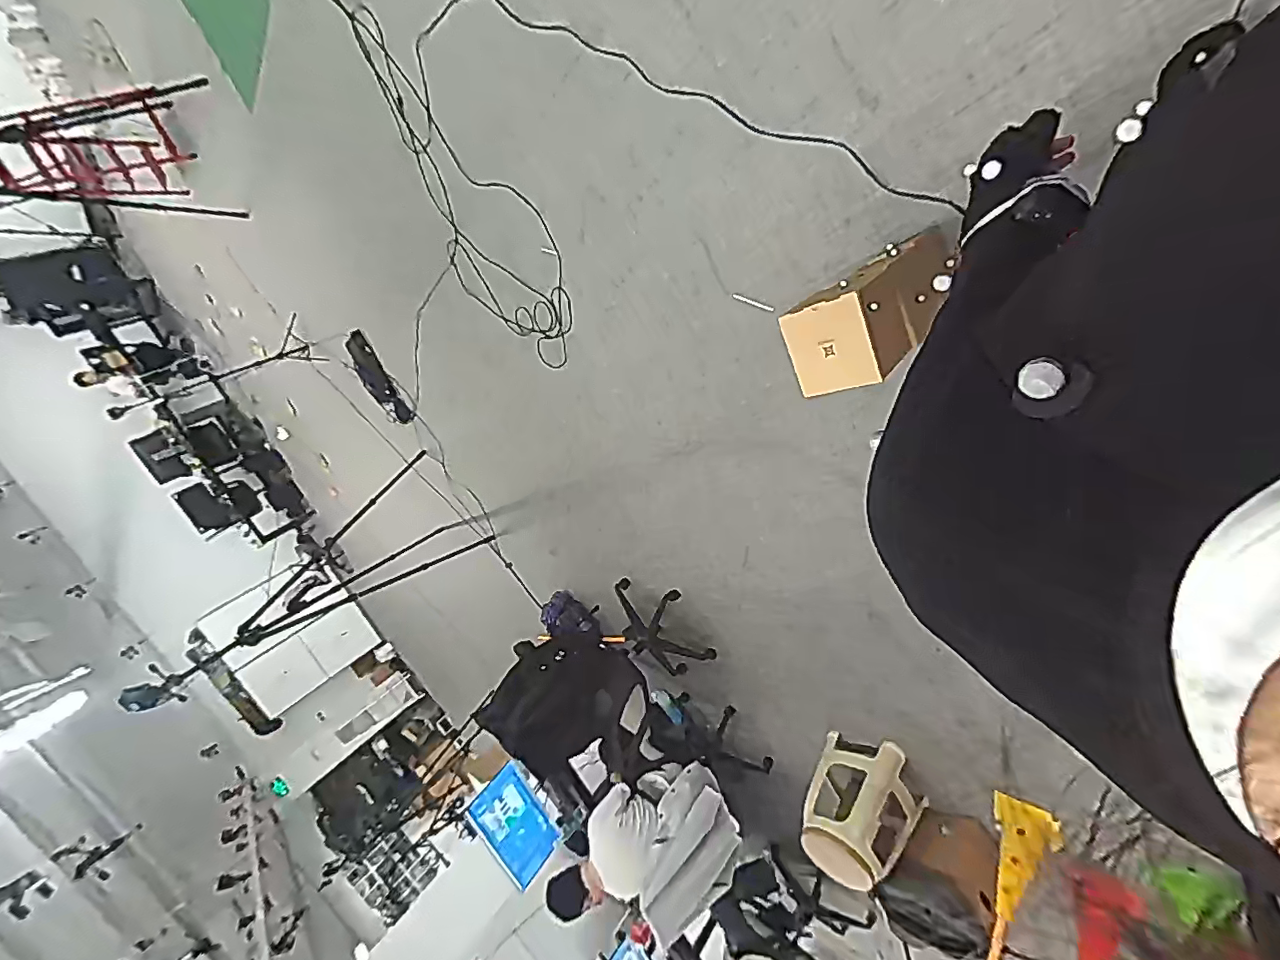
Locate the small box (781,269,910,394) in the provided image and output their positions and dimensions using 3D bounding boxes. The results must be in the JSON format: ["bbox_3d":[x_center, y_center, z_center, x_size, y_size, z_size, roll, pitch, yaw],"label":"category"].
[{"bbox_3d":[0.419,-0.296,1.090,0.168,0.176,0.179,-6,115,48],"label":"small box"}]

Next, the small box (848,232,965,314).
[{"bbox_3d":[0.632,-0.463,1.278,0.168,0.176,0.179,-17,106,54],"label":"small box"}]

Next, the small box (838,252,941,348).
[{"bbox_3d":[0.527,-0.376,1.182,0.168,0.176,0.179,-13,111,50],"label":"small box"}]
